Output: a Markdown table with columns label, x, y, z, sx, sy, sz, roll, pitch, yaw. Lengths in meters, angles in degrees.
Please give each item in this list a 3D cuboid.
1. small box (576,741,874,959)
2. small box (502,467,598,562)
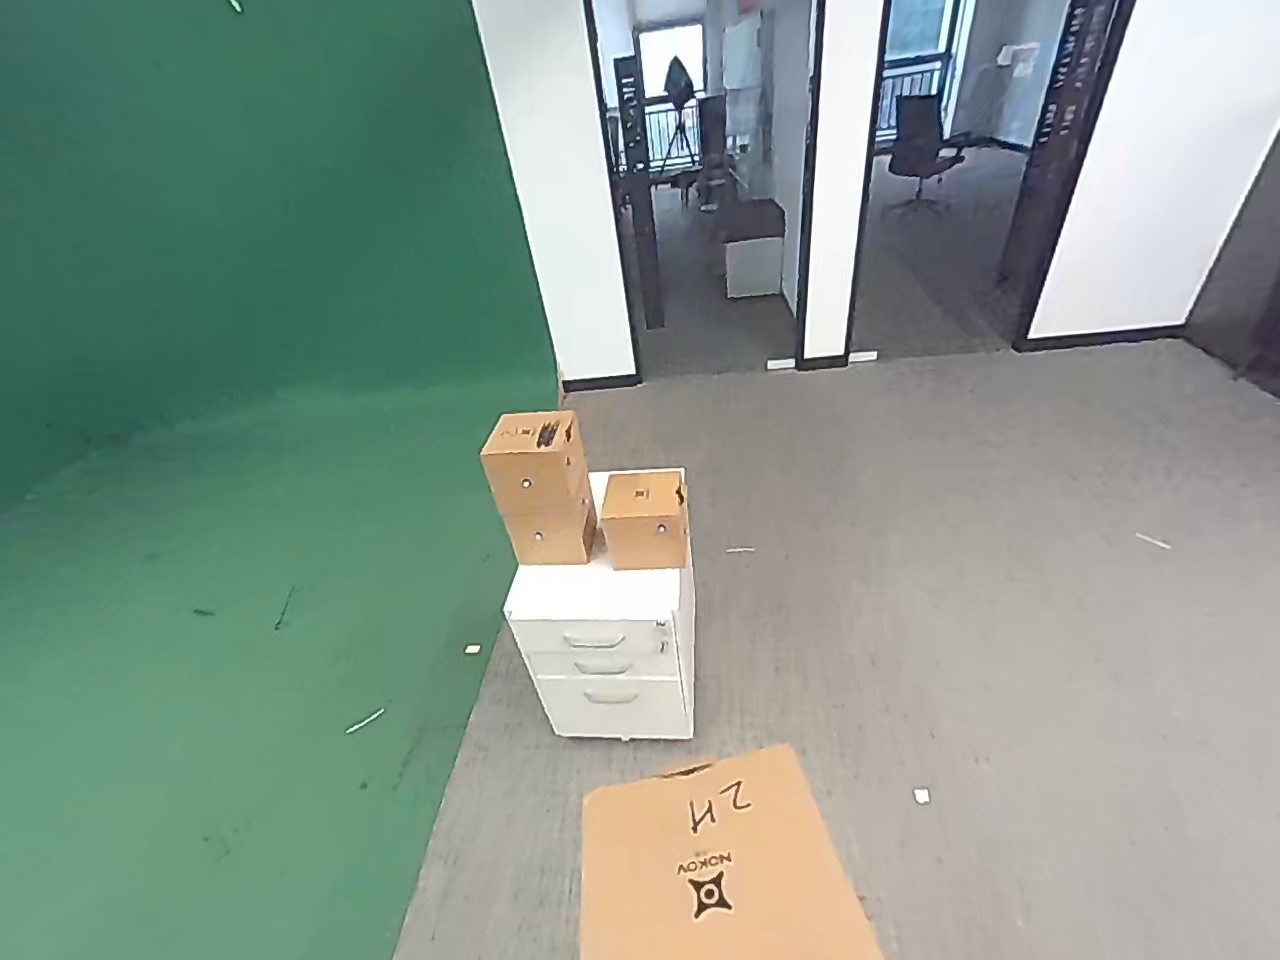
| label | x | y | z | sx | sy | sz | roll | pitch | yaw |
| --- | --- | --- | --- | --- | --- | --- | --- | --- | --- |
| small box | 0.059 | 0.322 | 0.366 | 0.168 | 0.176 | 0.179 | -13 | 19 | 1 |
| small box | -0.211 | 0.087 | 1.314 | 0.179 | 0.176 | 0.168 | -3 | 38 | 8 |
